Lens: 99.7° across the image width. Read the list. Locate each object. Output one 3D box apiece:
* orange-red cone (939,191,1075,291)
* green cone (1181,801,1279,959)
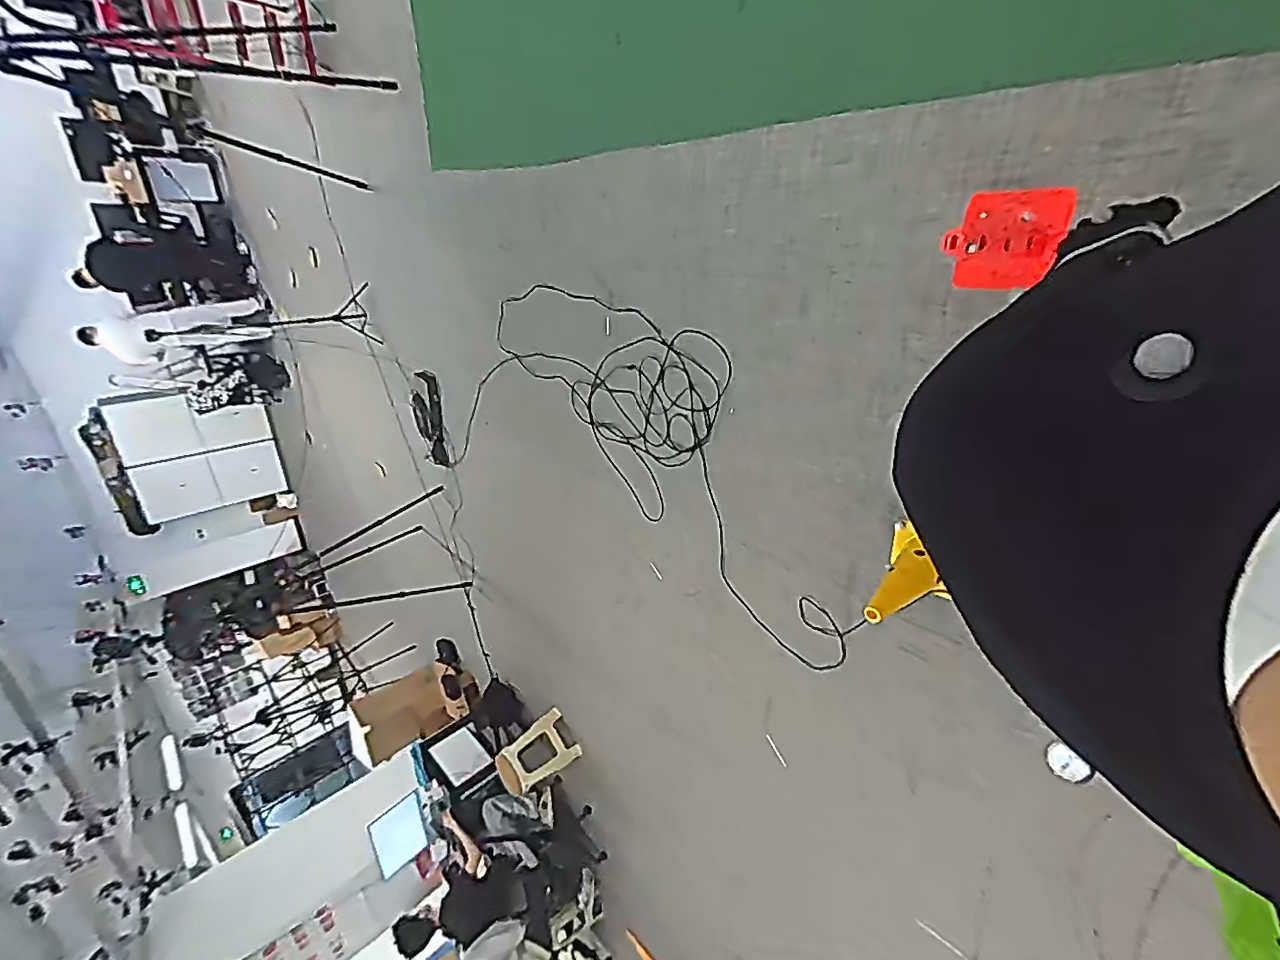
[{"bbox_3d":[0.688,-0.473,1.081,0.198,0.360,0.199,24,125,42],"label":"orange-red cone"},{"bbox_3d":[1.228,0.877,1.081,0.202,0.368,0.200,22,122,43],"label":"green cone"}]
